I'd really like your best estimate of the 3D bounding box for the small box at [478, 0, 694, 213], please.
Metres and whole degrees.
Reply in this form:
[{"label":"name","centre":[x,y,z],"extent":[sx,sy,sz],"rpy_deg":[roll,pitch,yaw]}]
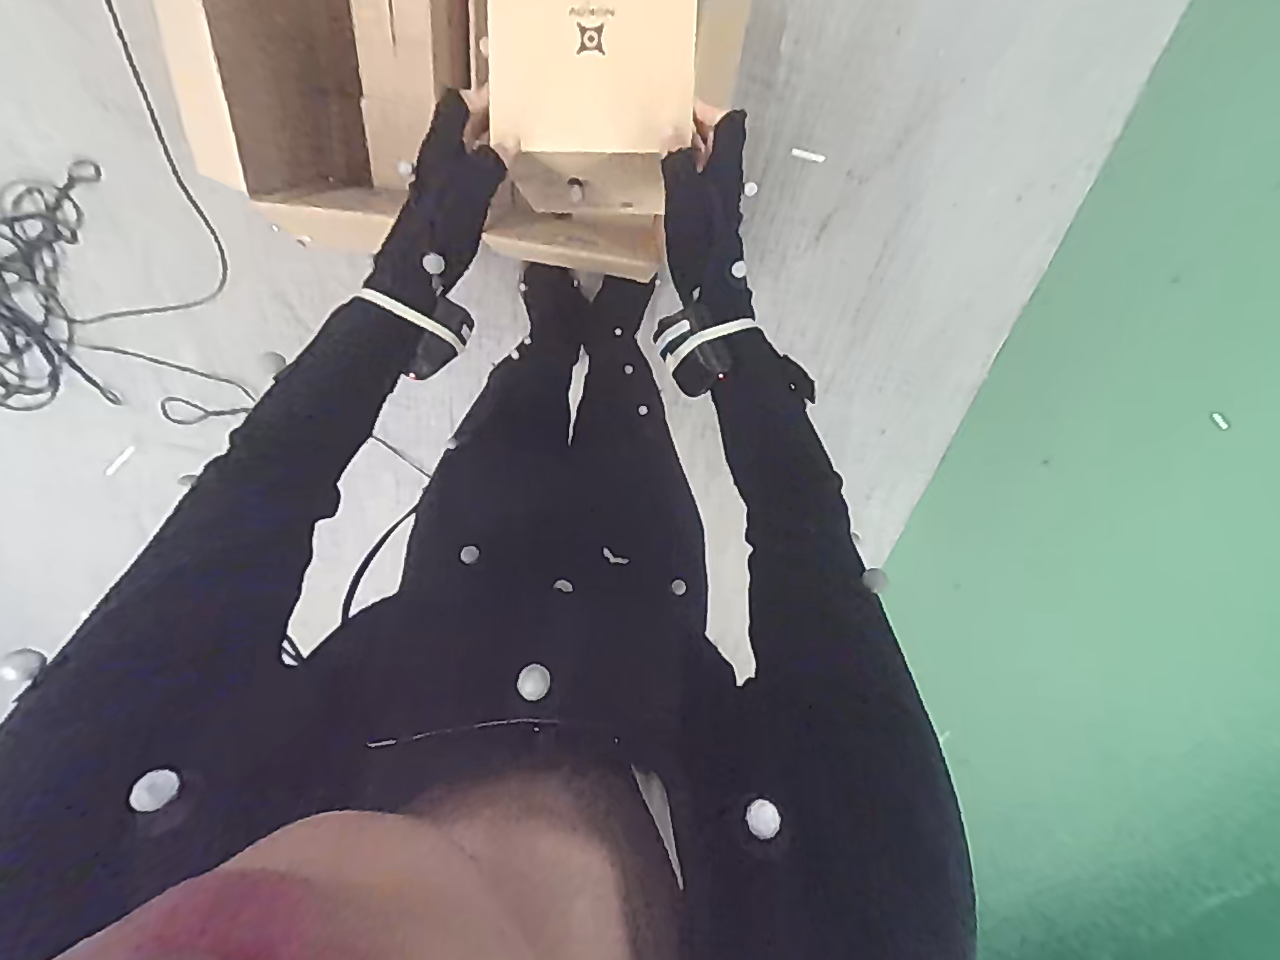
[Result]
[{"label":"small box","centre":[-0.038,-0.355,0.487],"extent":[0.168,0.176,0.179],"rpy_deg":[1,100,2]}]
